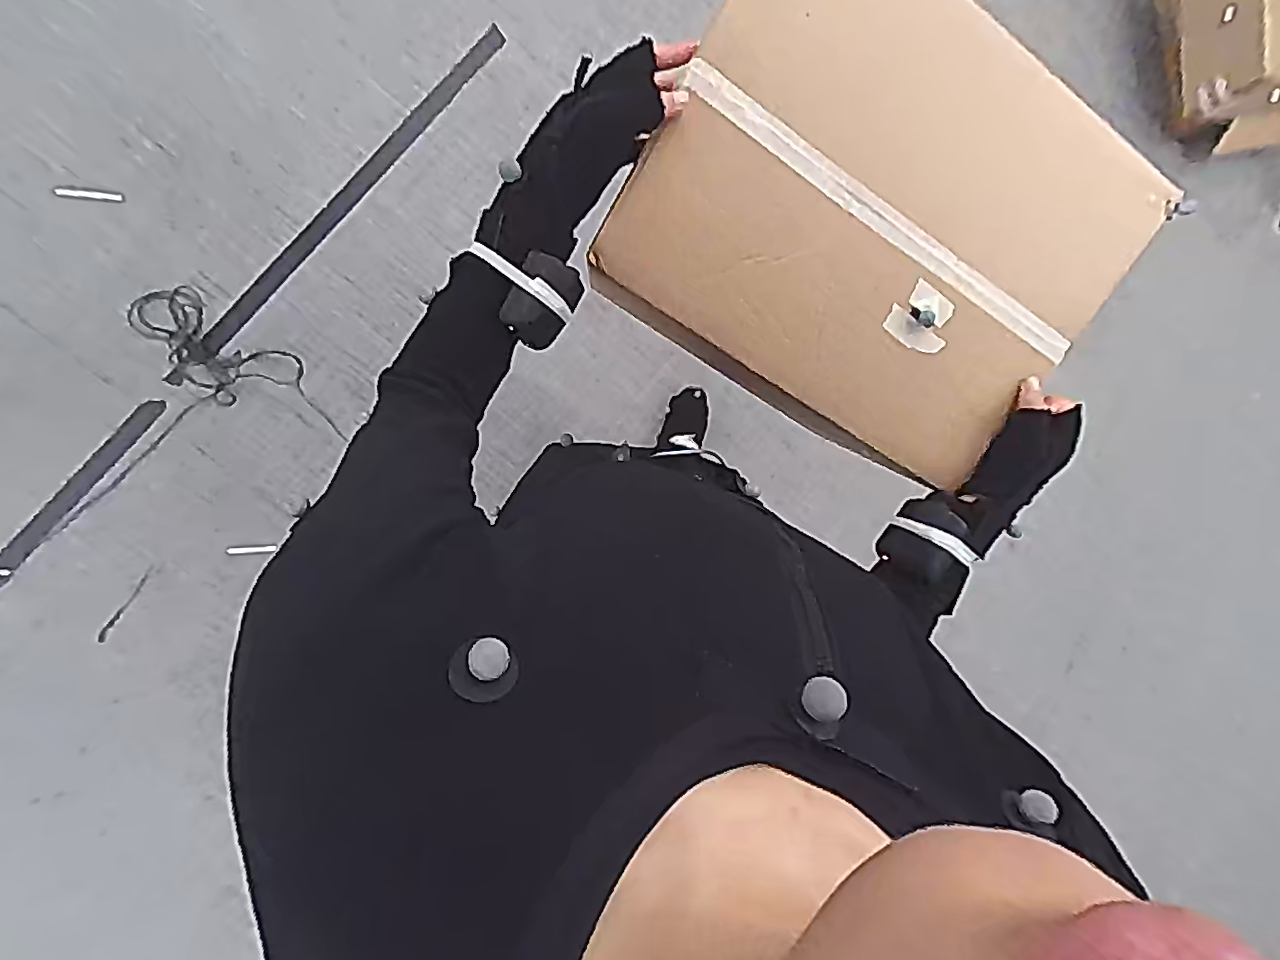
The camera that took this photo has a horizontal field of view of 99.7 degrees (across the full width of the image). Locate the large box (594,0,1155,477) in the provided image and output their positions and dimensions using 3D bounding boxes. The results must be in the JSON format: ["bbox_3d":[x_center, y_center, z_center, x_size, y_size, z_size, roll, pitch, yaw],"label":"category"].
[{"bbox_3d":[0.195,-0.261,0.603,0.408,0.320,0.320,30,102,-13],"label":"large box"}]
